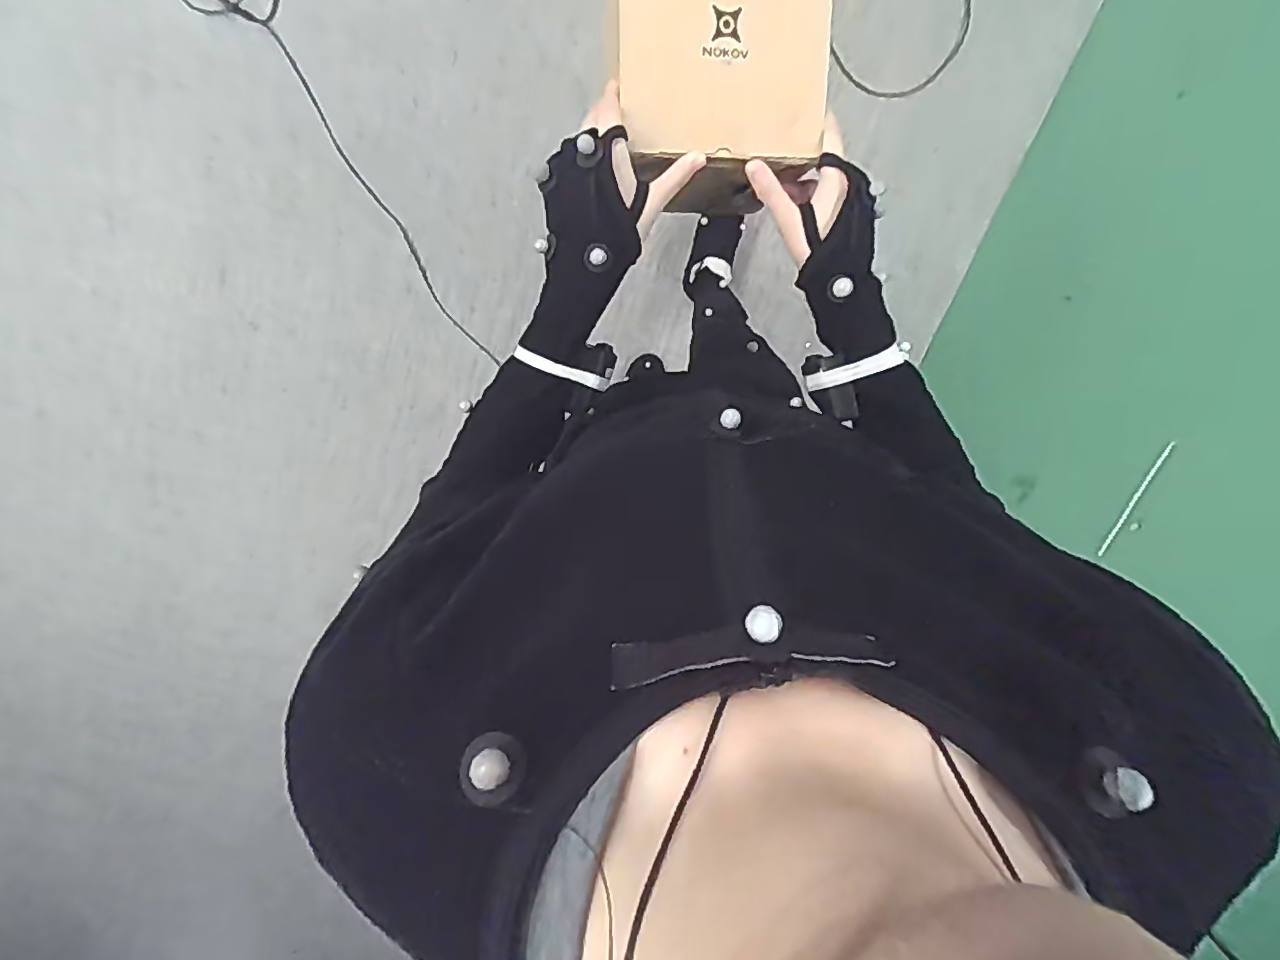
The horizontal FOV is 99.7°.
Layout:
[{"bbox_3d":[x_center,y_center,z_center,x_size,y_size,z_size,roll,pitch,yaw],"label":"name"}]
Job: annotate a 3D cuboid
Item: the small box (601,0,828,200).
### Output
[{"bbox_3d":[0.053,-0.365,0.481,0.168,0.176,0.179,-1,102,-7],"label":"small box"}]
